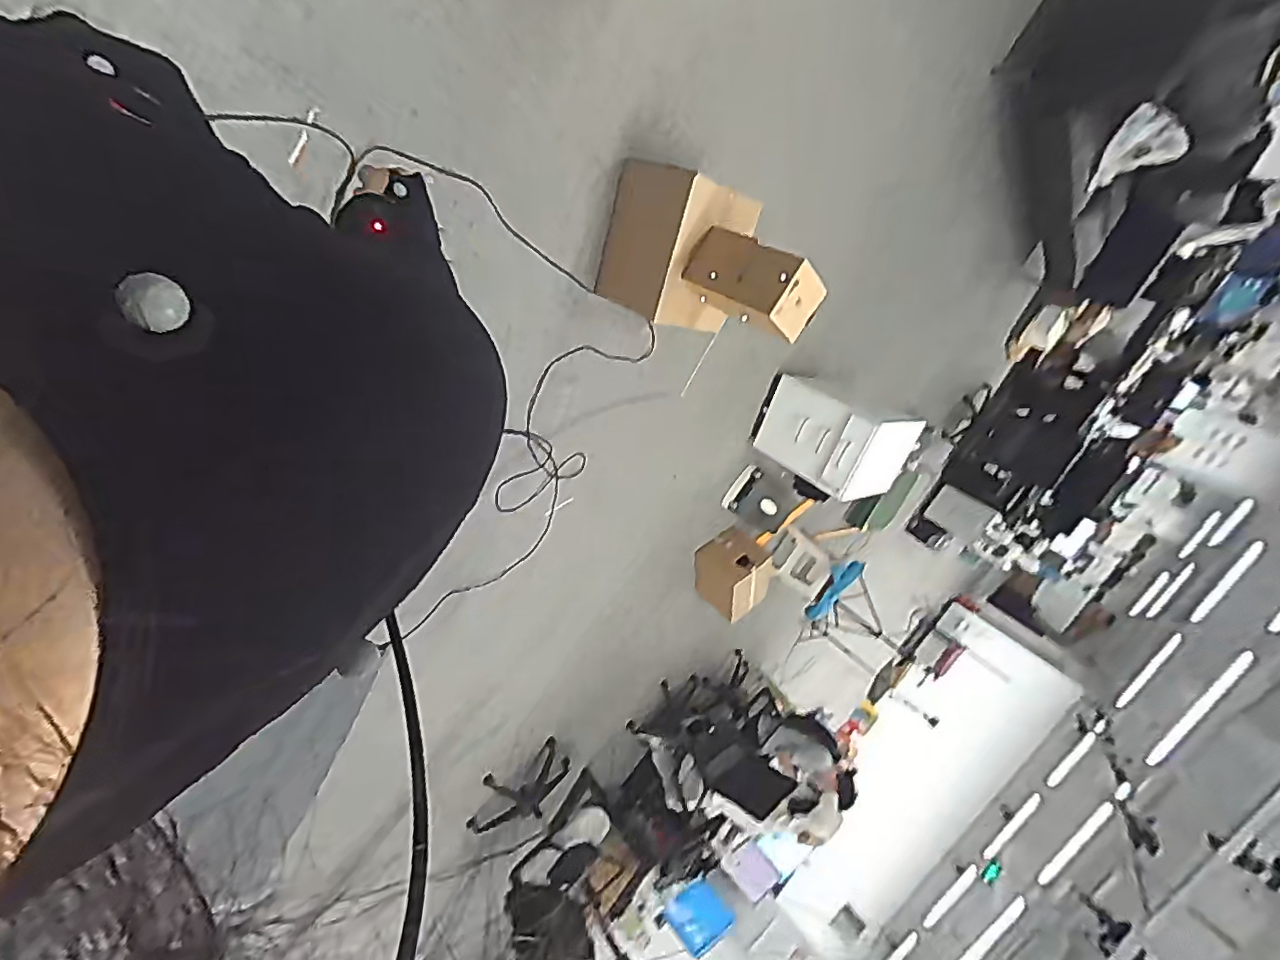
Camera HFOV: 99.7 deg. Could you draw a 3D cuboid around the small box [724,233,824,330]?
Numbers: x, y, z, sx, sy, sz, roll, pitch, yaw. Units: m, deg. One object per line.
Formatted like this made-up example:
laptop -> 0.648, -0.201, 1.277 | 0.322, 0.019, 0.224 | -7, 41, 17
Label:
small box -> 0.361, -0.539, 1.465 | 0.179, 0.176, 0.168 | 18, 106, -53
